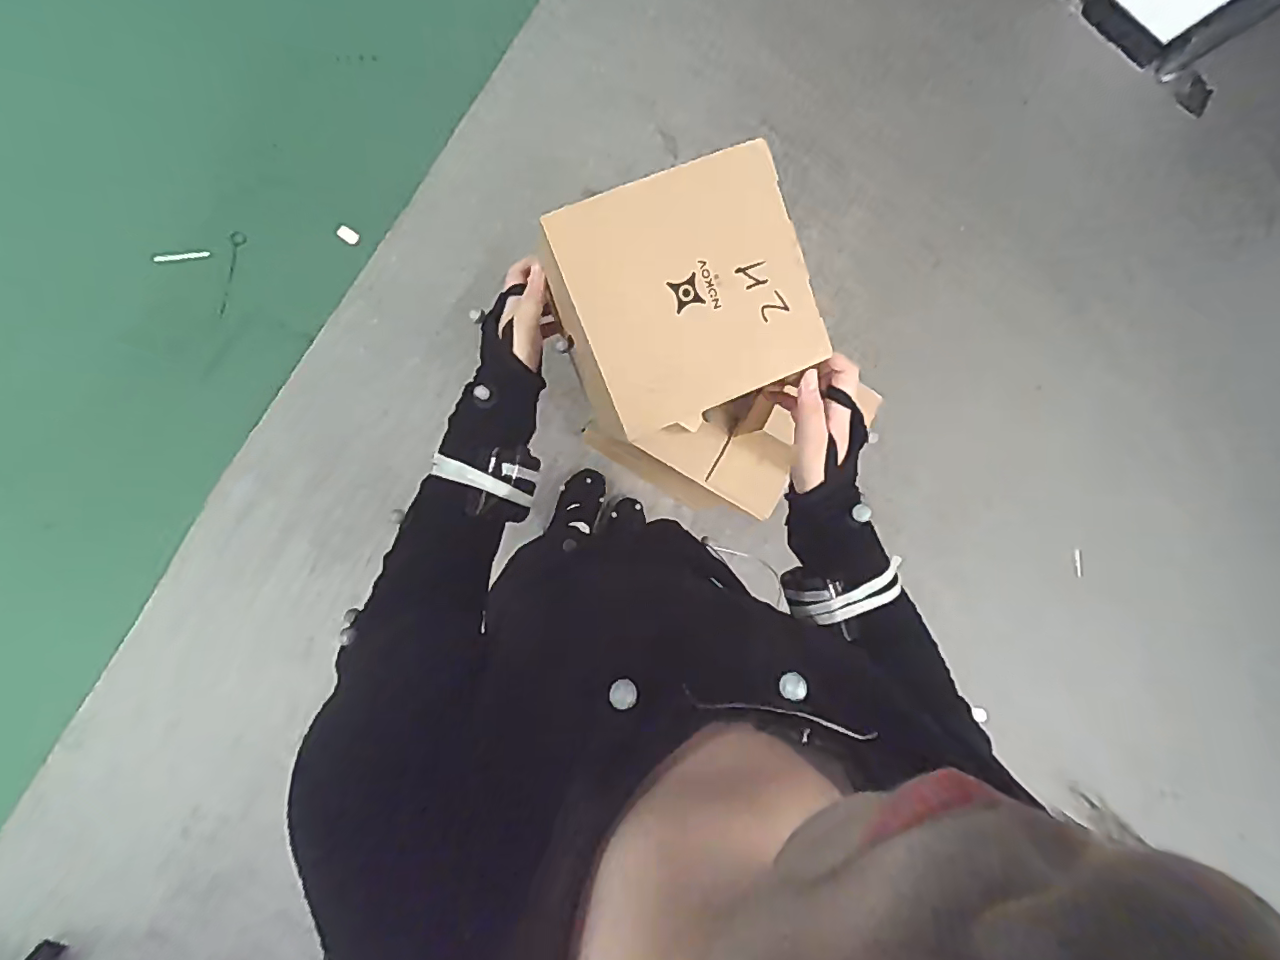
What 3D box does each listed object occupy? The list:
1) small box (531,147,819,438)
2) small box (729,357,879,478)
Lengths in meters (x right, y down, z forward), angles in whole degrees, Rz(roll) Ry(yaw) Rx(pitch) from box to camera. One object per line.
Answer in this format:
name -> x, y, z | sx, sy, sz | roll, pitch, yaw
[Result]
small box -> 0.017, -0.143, 0.467 | 0.179, 0.176, 0.168 | -22, 102, -8
small box -> 0.298, -0.117, 1.013 | 0.179, 0.176, 0.168 | 30, 85, -8
